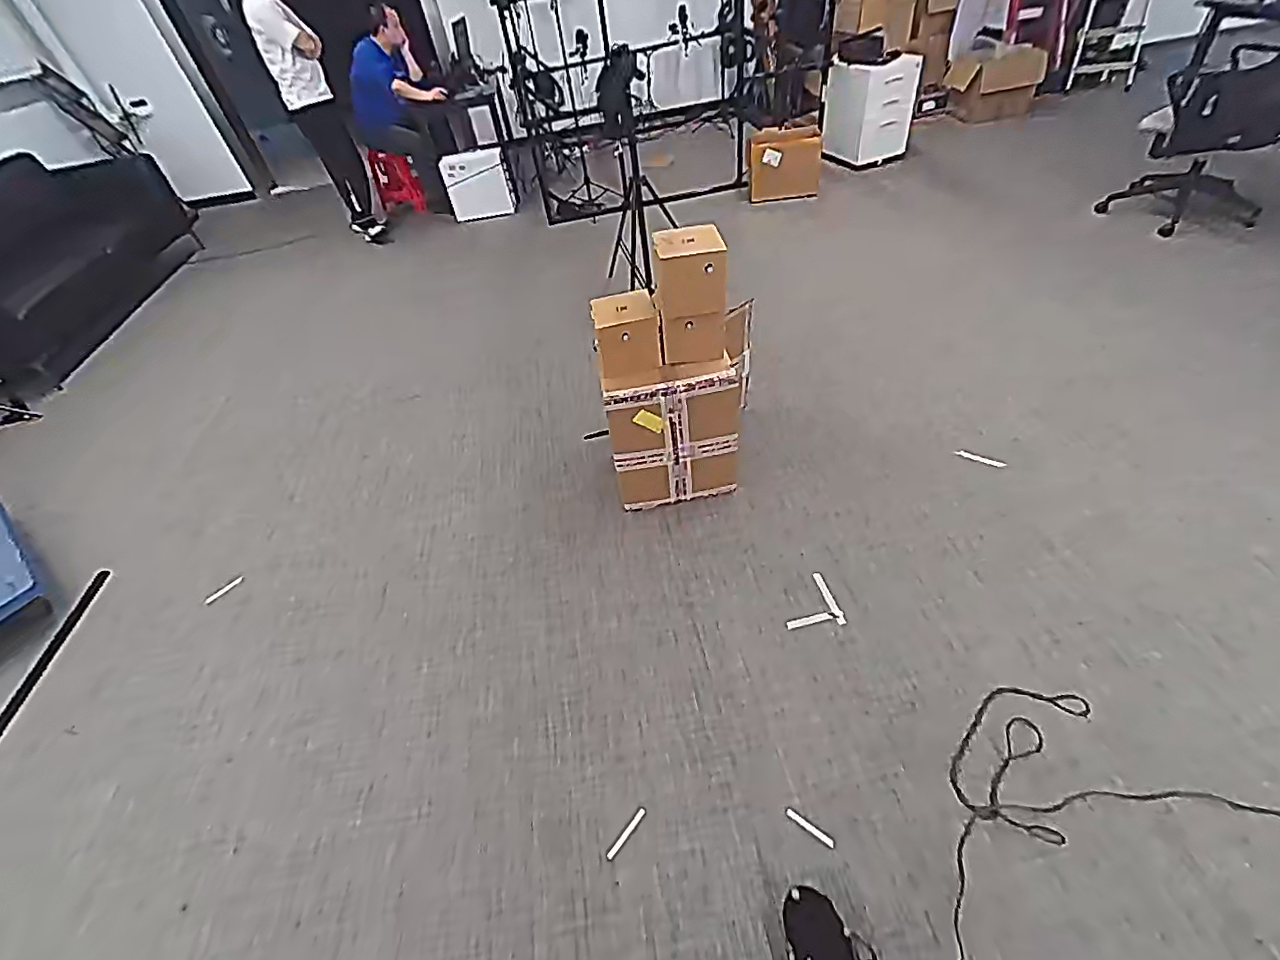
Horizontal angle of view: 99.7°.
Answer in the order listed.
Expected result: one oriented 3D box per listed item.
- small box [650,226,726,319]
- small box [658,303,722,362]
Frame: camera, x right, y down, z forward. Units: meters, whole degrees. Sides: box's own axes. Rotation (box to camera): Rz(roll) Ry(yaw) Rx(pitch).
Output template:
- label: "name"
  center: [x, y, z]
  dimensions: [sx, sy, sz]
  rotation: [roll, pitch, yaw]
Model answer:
- label: "small box"
  center: [0.127, -0.556, 1.453]
  dimensions: [0.179, 0.176, 0.168]
  rotation: [-9, 46, 0]
- label: "small box"
  center: [0.145, -0.461, 1.589]
  dimensions: [0.179, 0.176, 0.168]
  rotation: [-6, 47, 1]
